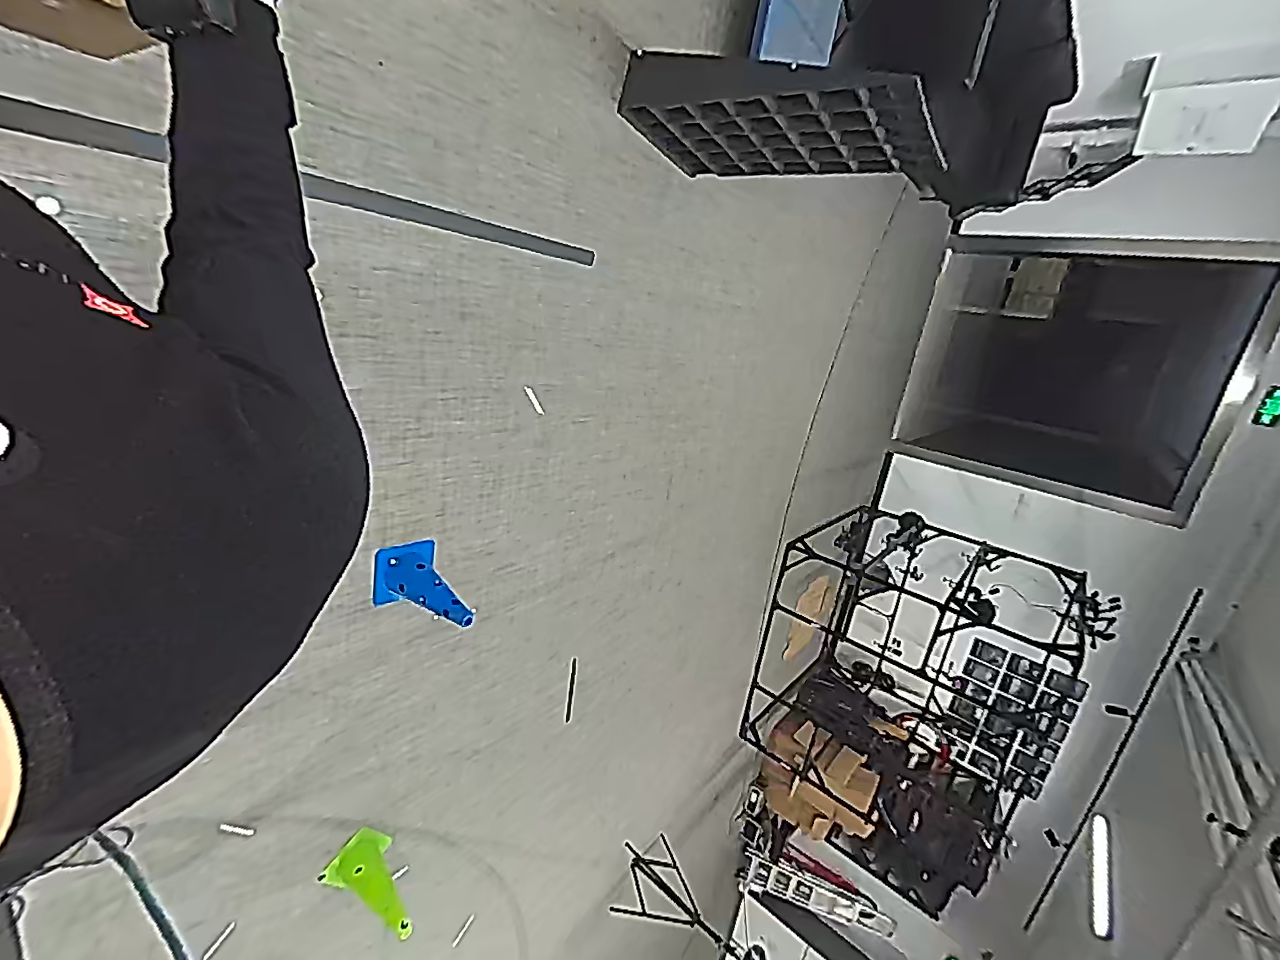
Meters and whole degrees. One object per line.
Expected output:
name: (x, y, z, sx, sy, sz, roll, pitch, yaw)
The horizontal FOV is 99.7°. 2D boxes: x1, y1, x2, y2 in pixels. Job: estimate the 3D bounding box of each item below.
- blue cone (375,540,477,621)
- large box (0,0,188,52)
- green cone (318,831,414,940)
blue cone: (-0.639, 0.343, 1.664, 0.192, 0.380, 0.193, -8, 114, -53)
large box: (-0.528, -0.485, 0.262, 0.408, 0.320, 0.320, -12, 122, -51)
green cone: (-0.893, 1.429, 1.854, 0.202, 0.368, 0.200, -50, 142, -27)
